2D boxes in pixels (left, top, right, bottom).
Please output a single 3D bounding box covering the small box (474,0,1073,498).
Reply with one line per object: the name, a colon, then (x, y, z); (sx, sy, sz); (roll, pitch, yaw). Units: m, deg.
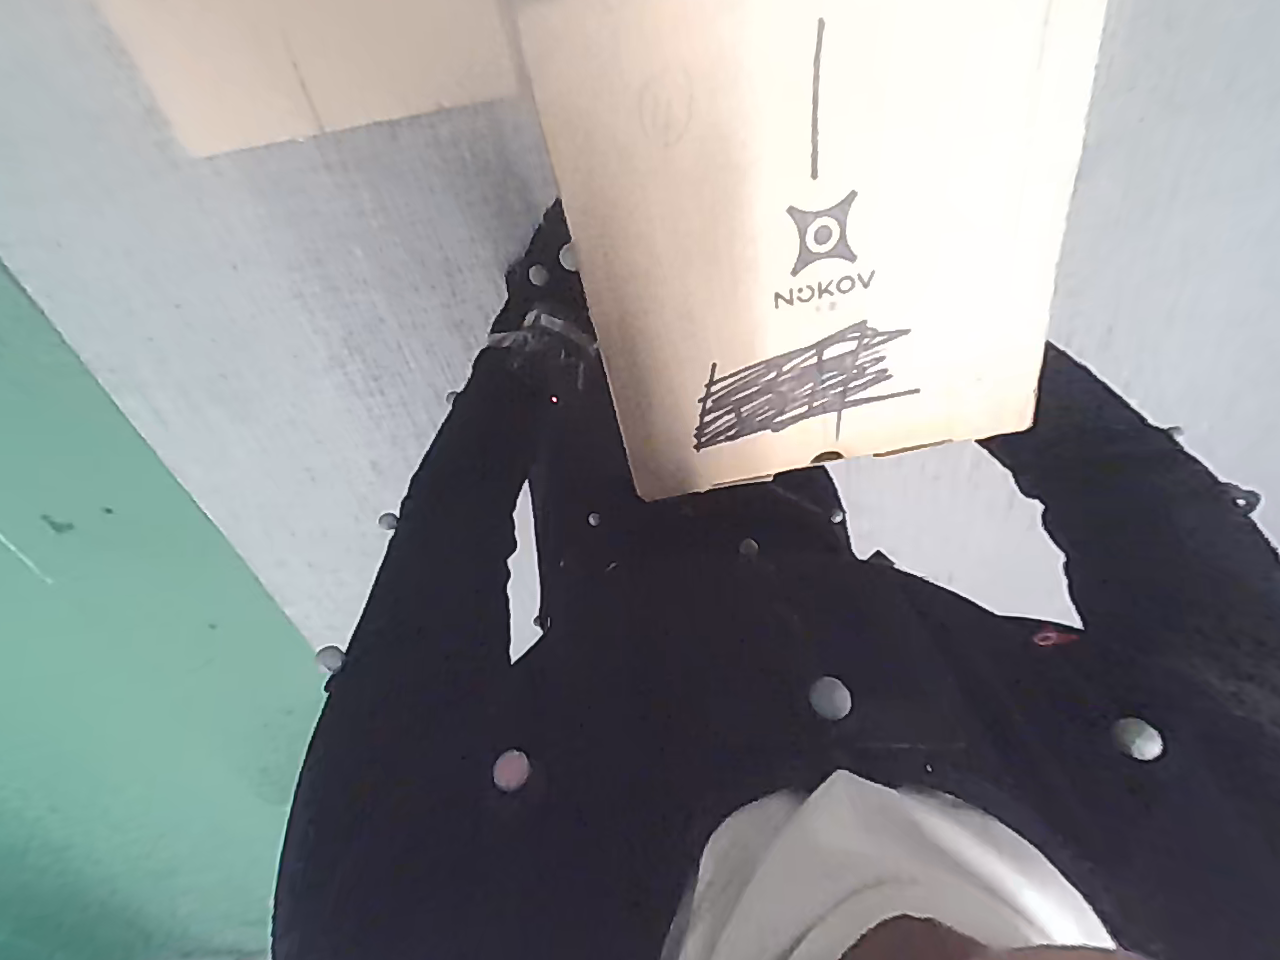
small box: (0.050, -0.120, 0.253); (0.168, 0.176, 0.179); (-12, 122, 6)
